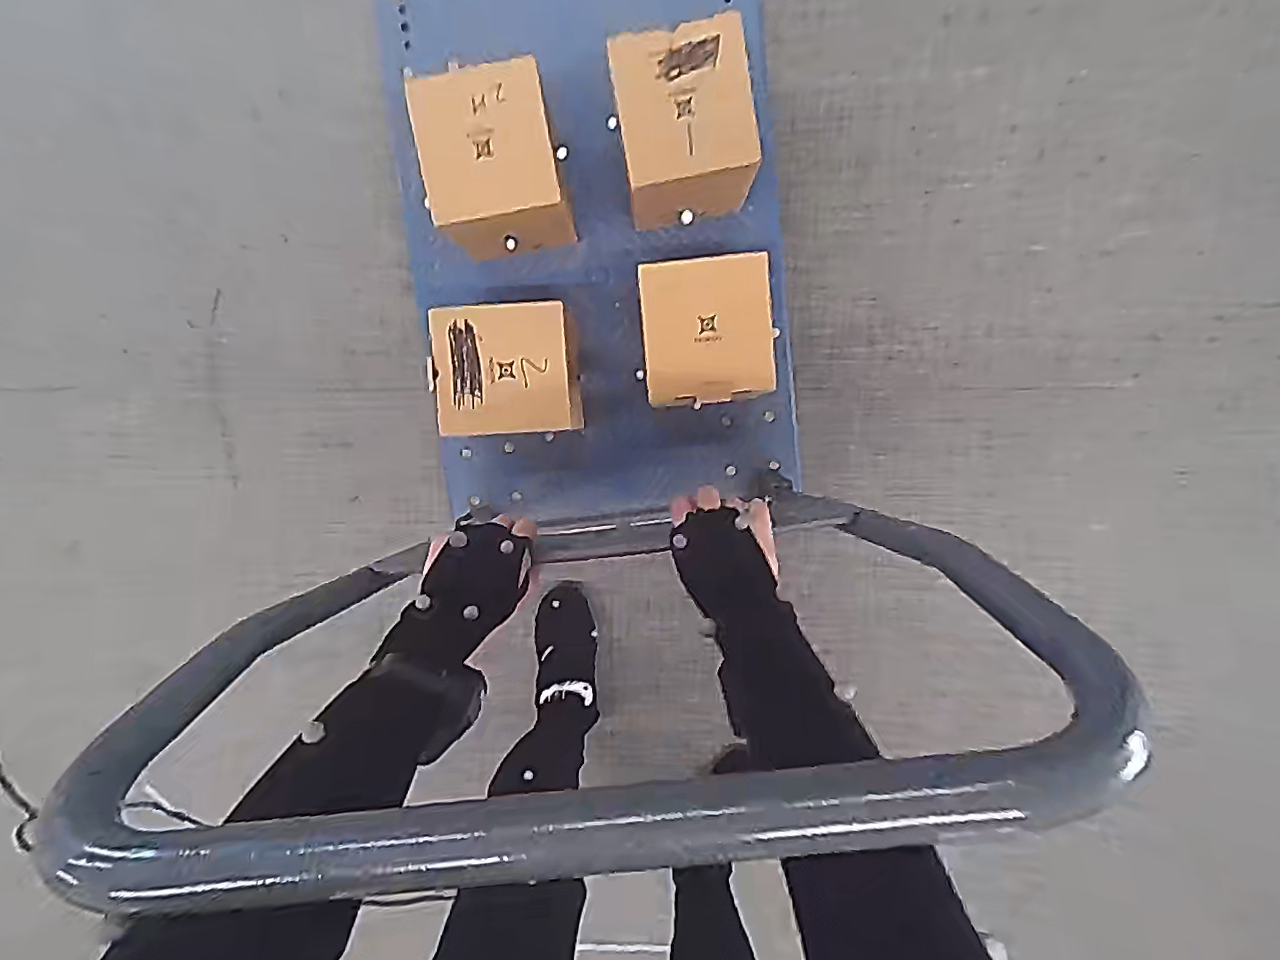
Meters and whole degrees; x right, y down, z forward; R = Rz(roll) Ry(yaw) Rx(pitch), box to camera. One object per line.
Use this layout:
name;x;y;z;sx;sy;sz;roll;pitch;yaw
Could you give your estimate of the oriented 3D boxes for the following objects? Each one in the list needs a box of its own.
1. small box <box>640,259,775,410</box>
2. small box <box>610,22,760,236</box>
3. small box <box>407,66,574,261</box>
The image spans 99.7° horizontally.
small box;0.087;-0.196;0.771;0.168;0.176;0.179;-6;96;1
small box;0.056;-0.463;0.741;0.168;0.176;0.179;-10;97;3
small box;-0.193;-0.418;0.750;0.168;0.176;0.179;-10;96;1
